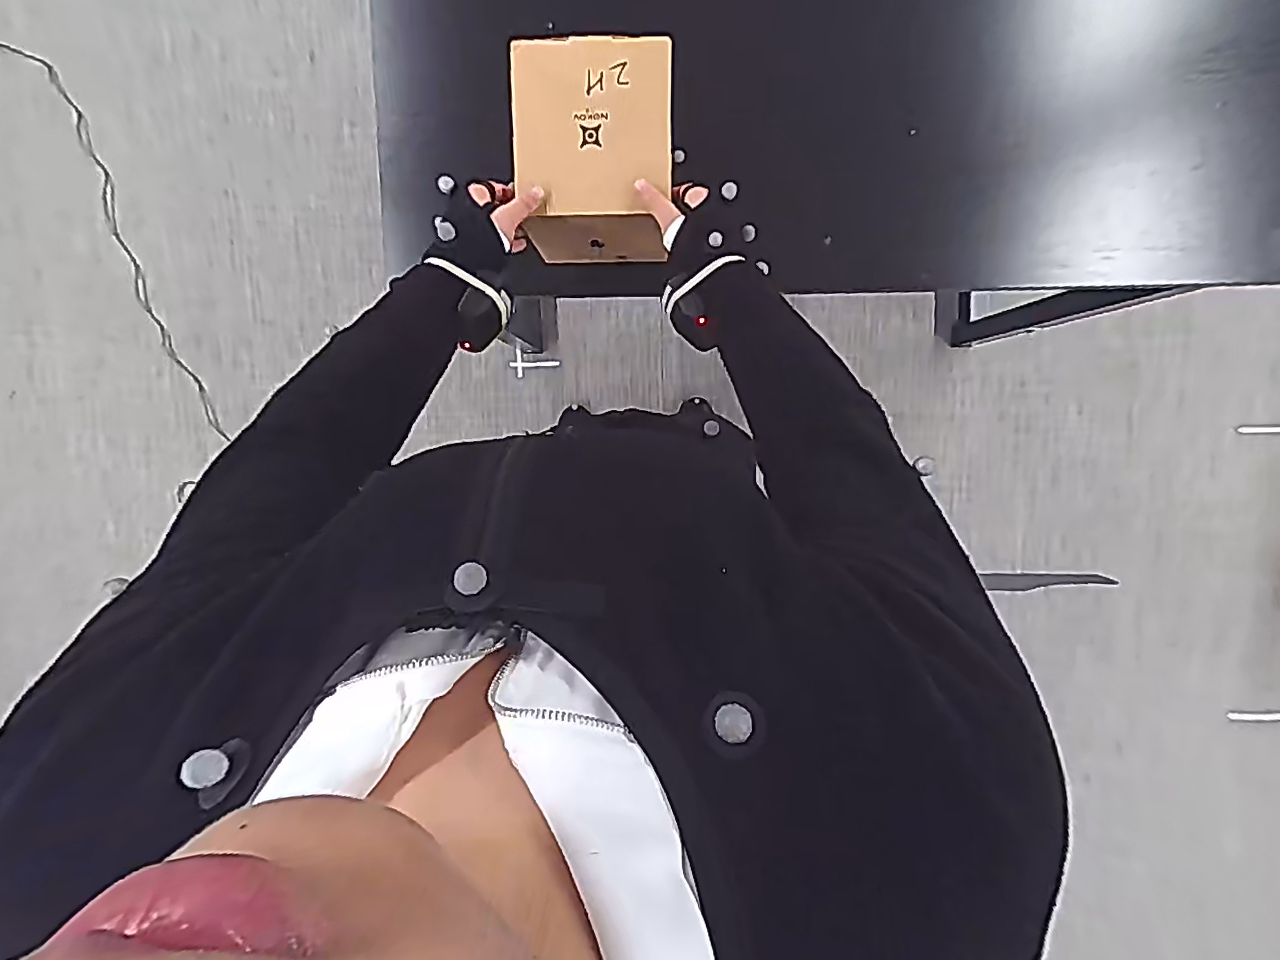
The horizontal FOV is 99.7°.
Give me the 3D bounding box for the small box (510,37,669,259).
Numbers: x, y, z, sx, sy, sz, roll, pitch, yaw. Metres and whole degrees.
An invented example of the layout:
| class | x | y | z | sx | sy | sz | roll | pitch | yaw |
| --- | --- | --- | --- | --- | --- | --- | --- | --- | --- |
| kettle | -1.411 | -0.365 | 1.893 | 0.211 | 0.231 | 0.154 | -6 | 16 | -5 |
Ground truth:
| class | x | y | z | sx | sy | sz | roll | pitch | yaw |
| --- | --- | --- | --- | --- | --- | --- | --- | --- | --- |
| small box | -0.049 | -0.372 | 0.640 | 0.168 | 0.176 | 0.179 | -1 | 95 | 2 |
